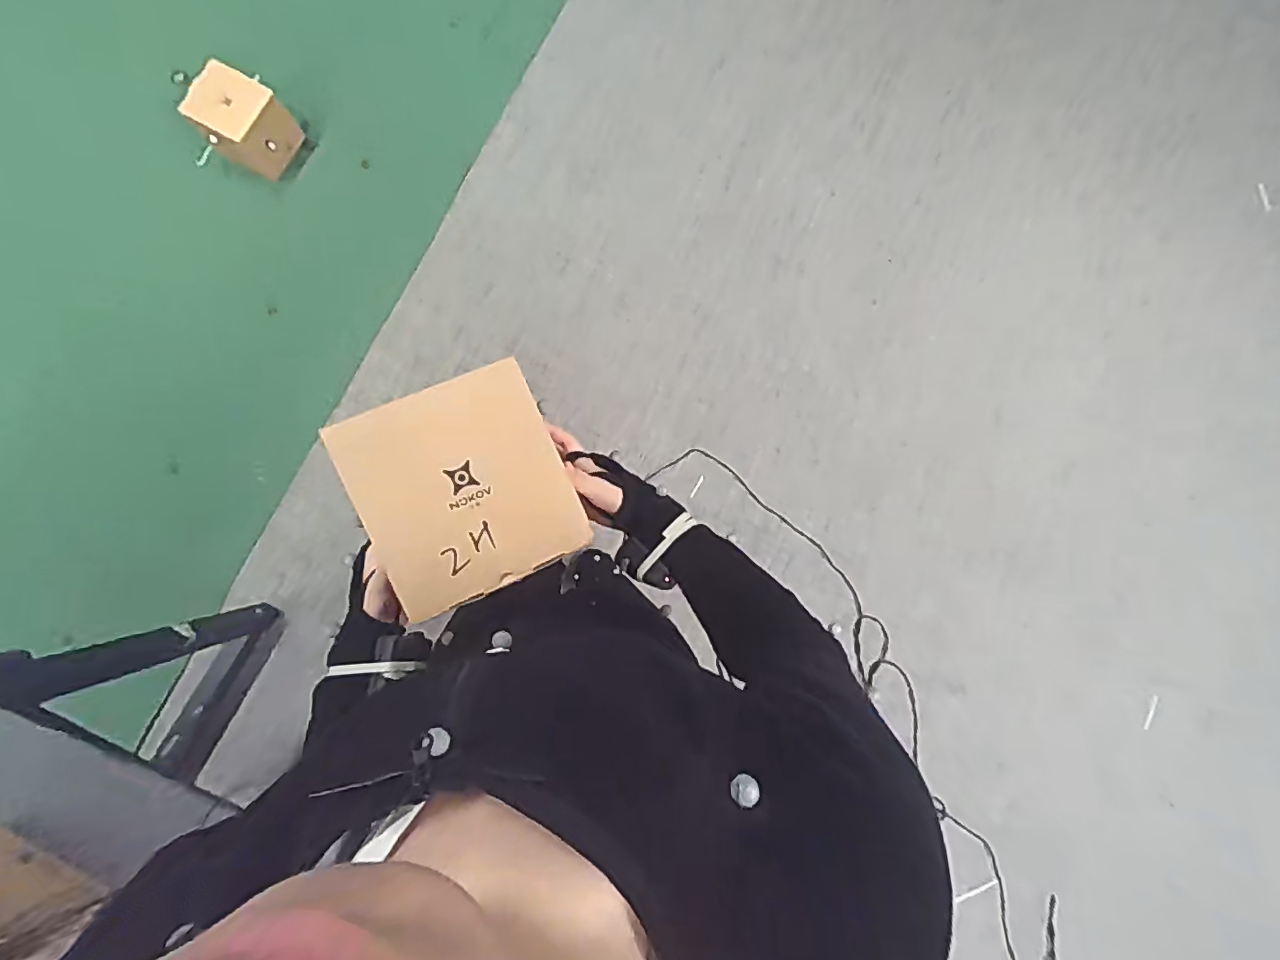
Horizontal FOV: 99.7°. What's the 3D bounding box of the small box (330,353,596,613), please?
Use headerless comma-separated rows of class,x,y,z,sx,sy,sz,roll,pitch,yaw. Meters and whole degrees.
small box,-0.160,0.003,0.529,0.168,0.176,0.179,-24,93,-11

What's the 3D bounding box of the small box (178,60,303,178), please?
small box,-1.054,-0.950,1.444,0.179,0.176,0.168,27,84,-1
